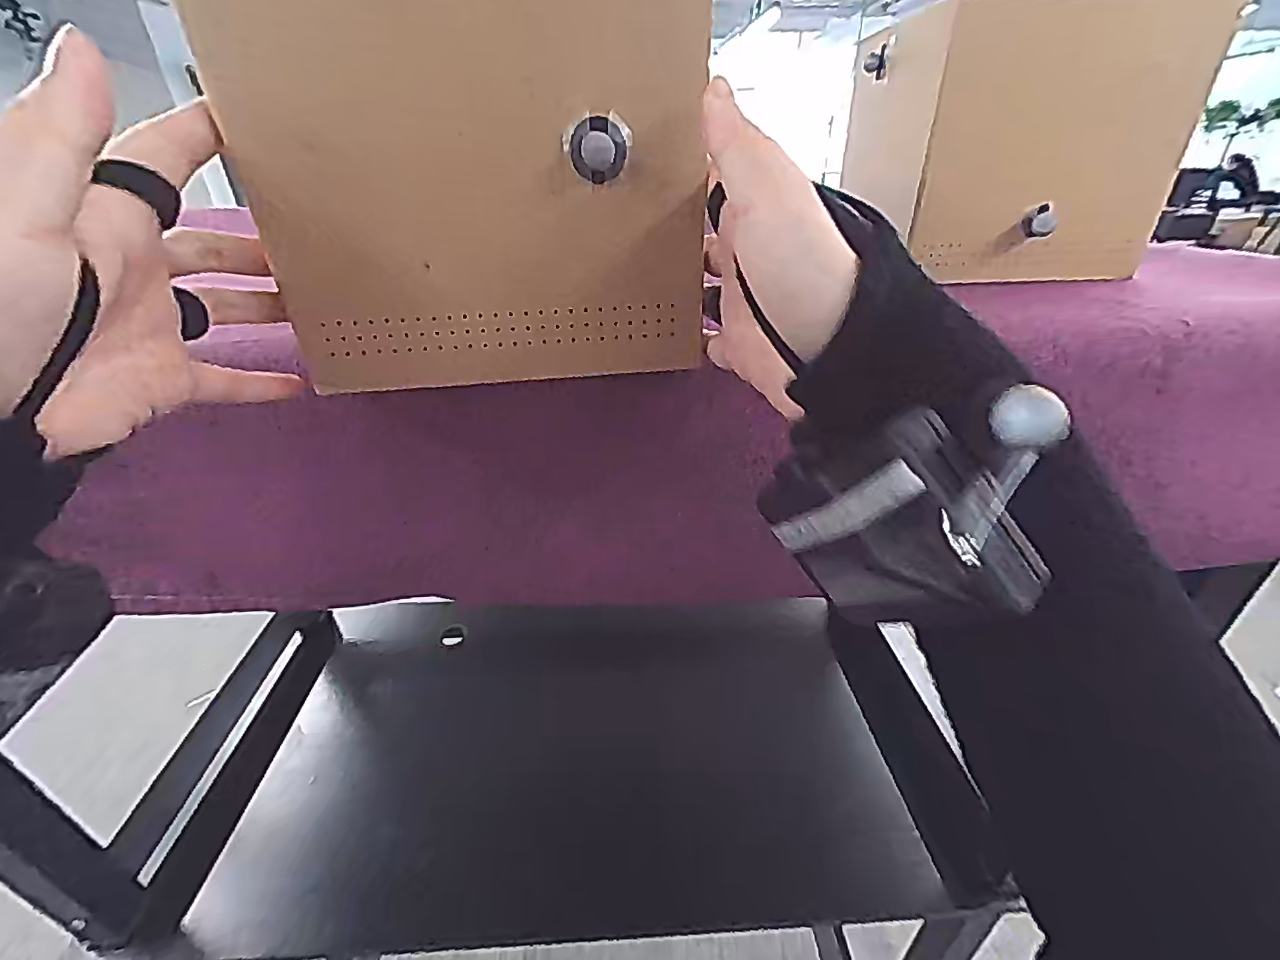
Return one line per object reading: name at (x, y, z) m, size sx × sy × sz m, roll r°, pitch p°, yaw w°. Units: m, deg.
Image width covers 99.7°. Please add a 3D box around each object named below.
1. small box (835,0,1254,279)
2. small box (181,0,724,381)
small box at (0.274, -0.259, 0.421) m, size 0.179 × 0.176 × 0.168 m, roll -1°, pitch 30°, yaw 0°
small box at (-0.064, -0.158, 0.265) m, size 0.179 × 0.176 × 0.168 m, roll -5°, pitch 32°, yaw -5°
